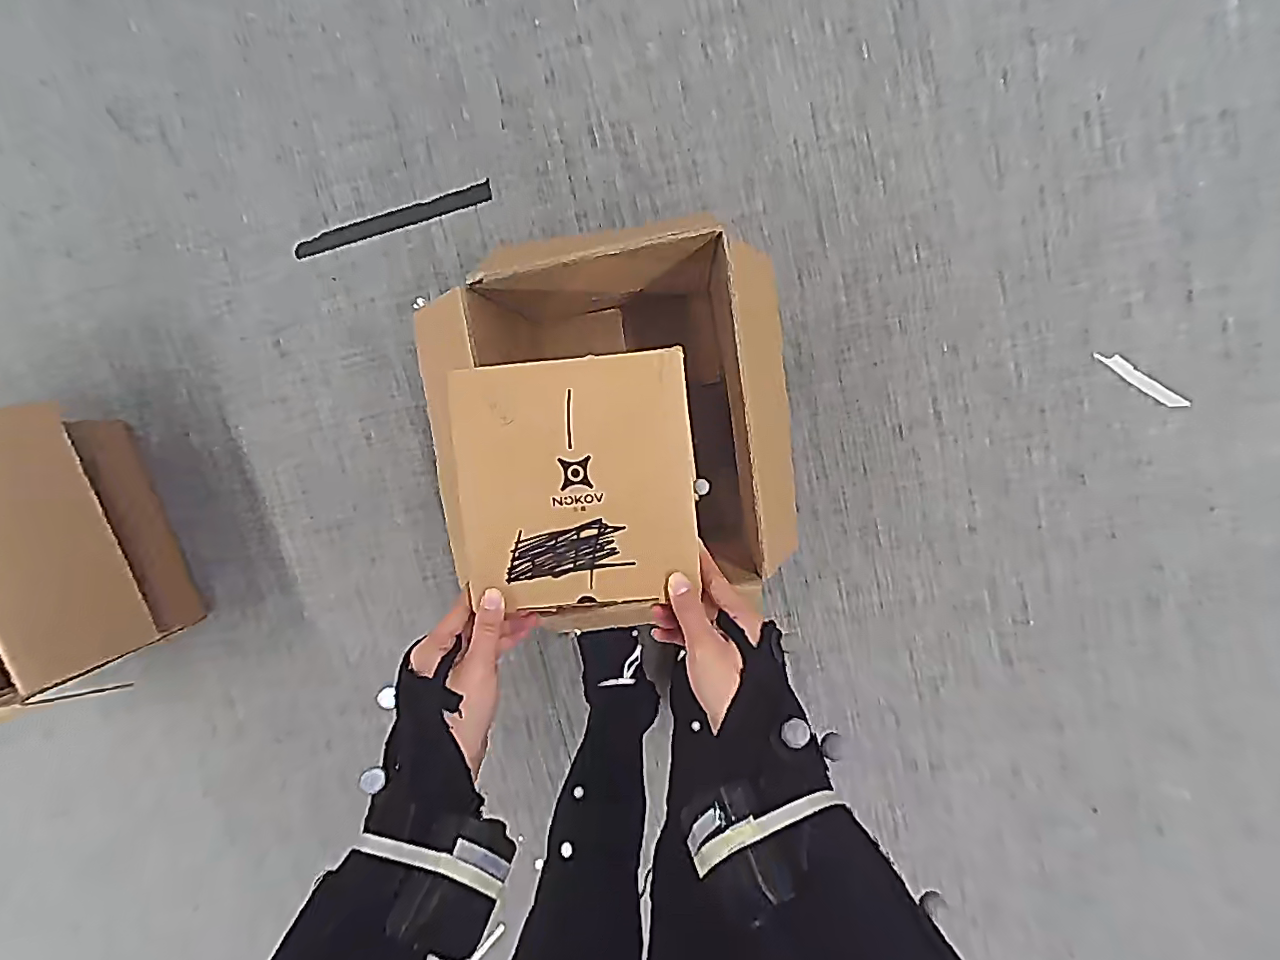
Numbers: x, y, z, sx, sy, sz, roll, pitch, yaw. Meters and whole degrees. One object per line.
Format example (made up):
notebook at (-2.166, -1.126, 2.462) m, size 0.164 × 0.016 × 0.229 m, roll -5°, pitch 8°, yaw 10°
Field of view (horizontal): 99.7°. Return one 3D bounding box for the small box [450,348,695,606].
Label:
small box at (-0.043, -0.006, 0.461) m, size 0.168 × 0.176 × 0.179 m, roll -5°, pitch 94°, yaw 2°
